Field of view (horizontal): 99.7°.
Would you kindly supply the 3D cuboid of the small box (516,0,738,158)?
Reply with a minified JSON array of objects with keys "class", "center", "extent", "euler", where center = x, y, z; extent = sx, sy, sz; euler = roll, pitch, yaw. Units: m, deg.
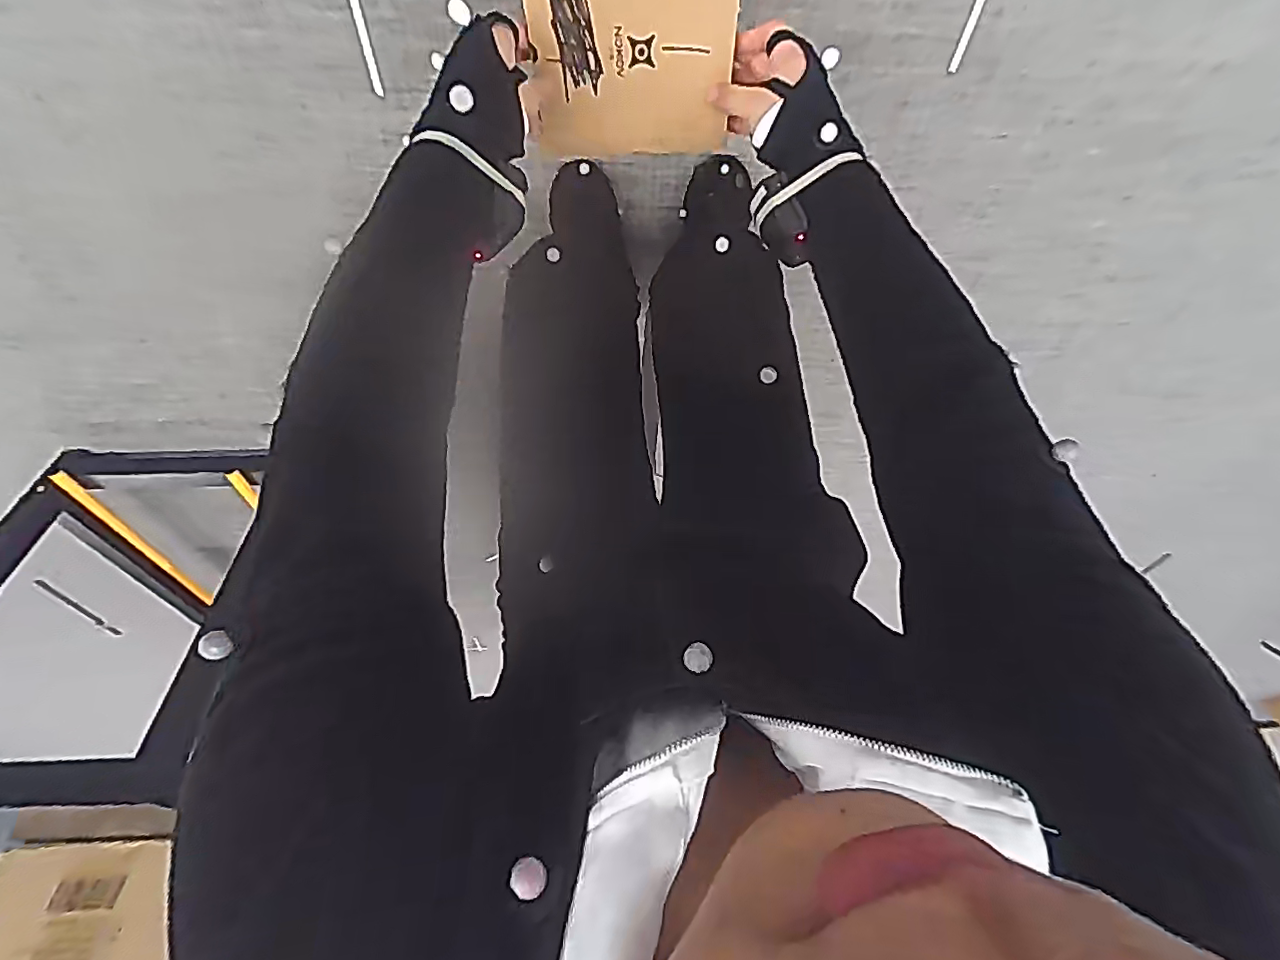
[{"class":"small box","center":[-0.009,-0.421,0.495],"extent":[0.179,0.176,0.168],"euler":[-2,146,1]}]
